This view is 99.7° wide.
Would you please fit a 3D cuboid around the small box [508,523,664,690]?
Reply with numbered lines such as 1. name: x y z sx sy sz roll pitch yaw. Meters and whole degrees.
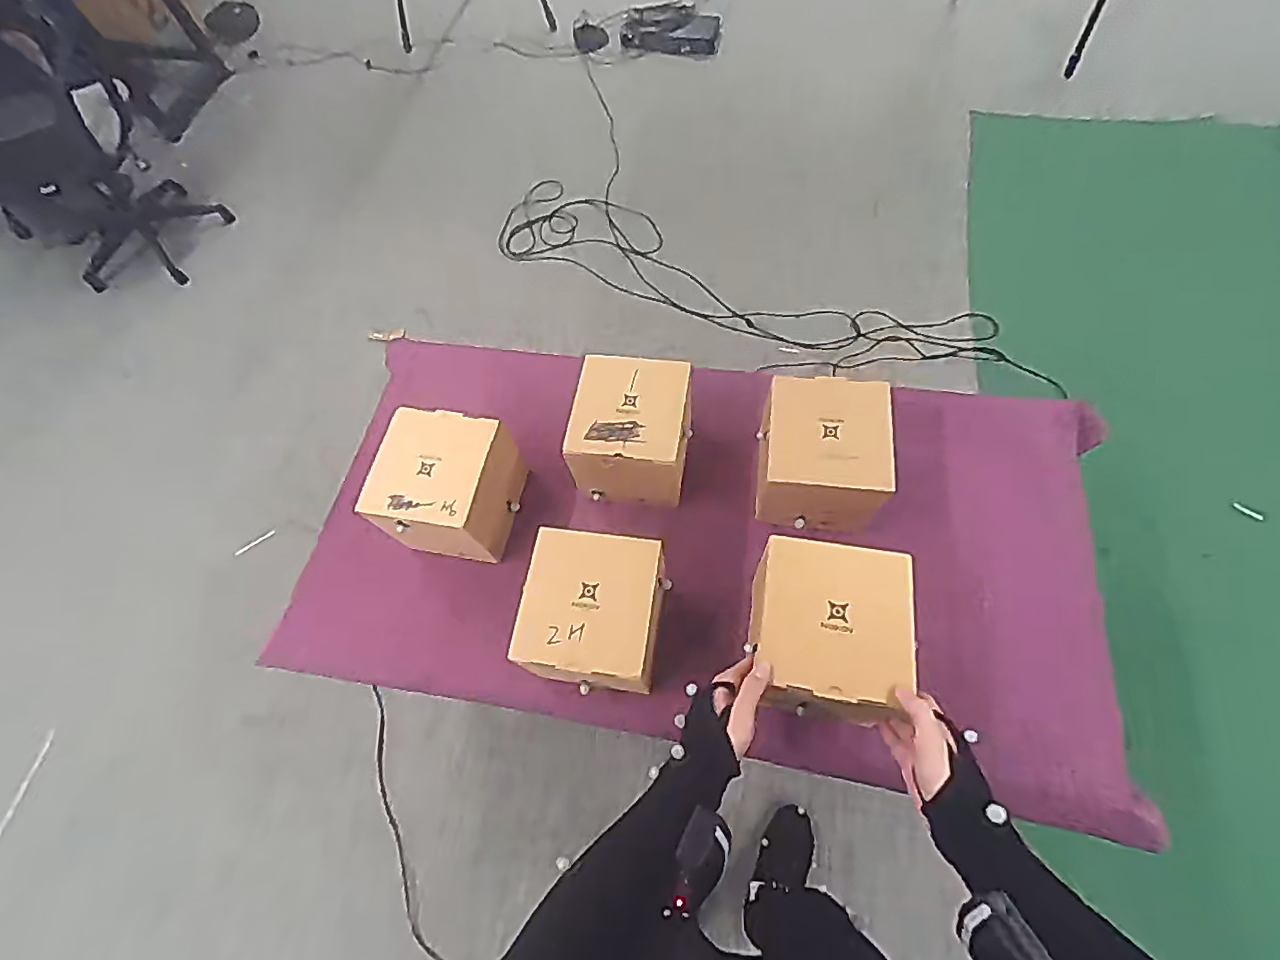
1. small box: -0.060 0.179 0.745 0.168 0.176 0.179 7 65 8

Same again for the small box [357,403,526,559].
1. small box: -0.293 0.006 0.846 0.168 0.176 0.179 8 65 10

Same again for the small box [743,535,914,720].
1. small box: 0.227 0.190 0.682 0.168 0.176 0.179 8 63 9

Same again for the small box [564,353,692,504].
1. small box: -0.009 -0.076 0.863 0.168 0.176 0.179 7 65 8

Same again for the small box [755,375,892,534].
1. small box: 0.270 -0.035 0.823 0.168 0.176 0.179 6 67 9
